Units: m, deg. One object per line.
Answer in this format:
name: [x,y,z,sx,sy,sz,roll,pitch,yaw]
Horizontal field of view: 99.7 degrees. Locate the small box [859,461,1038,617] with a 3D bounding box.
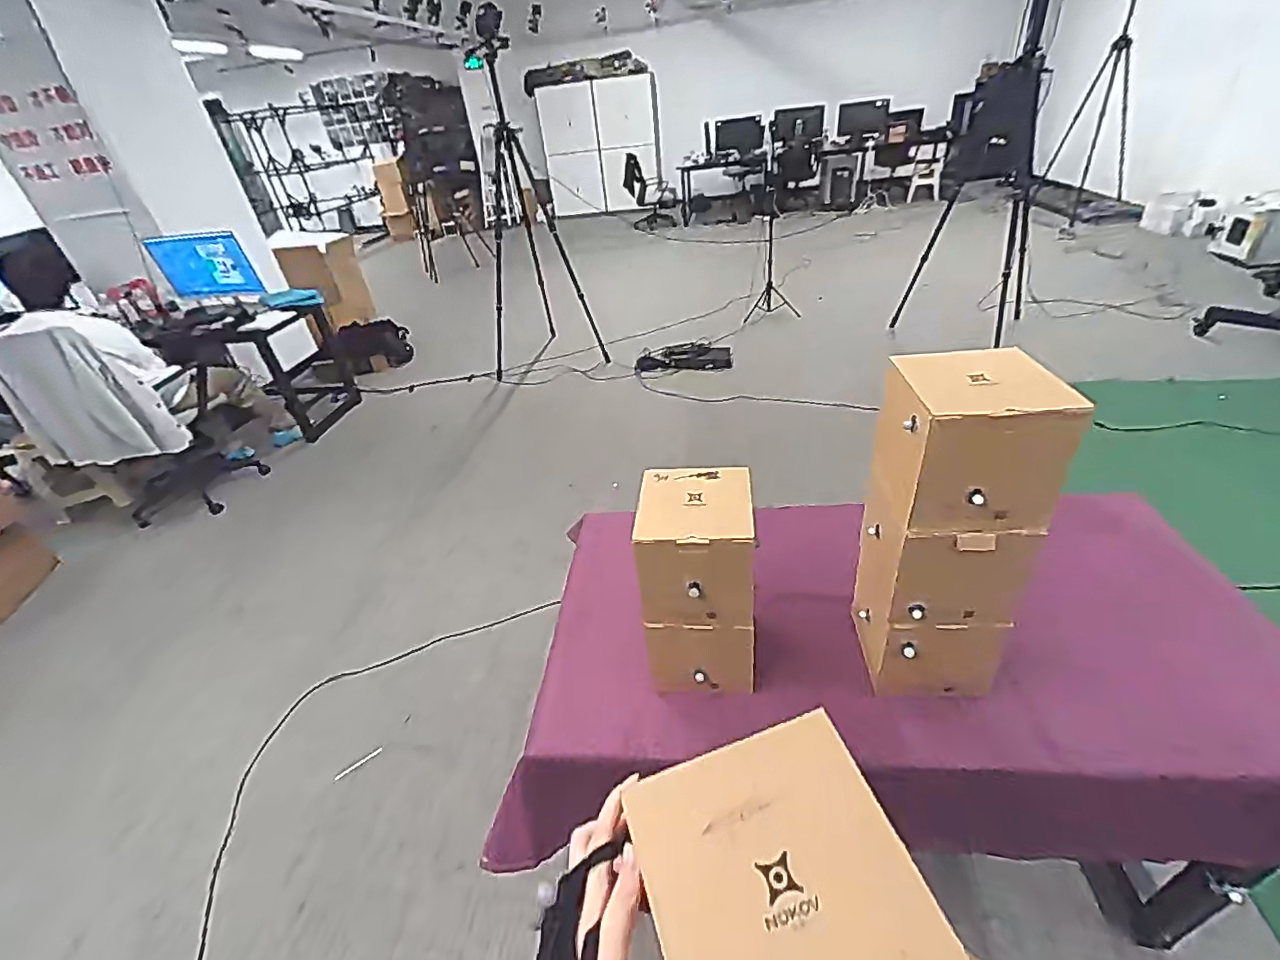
small box: [0.427,0.083,0.783,0.168,0.176,0.179,-3,33,8]

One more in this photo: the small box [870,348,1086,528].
small box: [0.411,-0.056,0.699,0.168,0.176,0.179,-3,35,7]

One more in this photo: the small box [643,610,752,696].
small box: [0.102,0.238,0.918,0.168,0.176,0.179,-2,35,9]

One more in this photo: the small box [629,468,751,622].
small box: [0.083,0.100,0.828,0.168,0.176,0.179,-2,35,8]
